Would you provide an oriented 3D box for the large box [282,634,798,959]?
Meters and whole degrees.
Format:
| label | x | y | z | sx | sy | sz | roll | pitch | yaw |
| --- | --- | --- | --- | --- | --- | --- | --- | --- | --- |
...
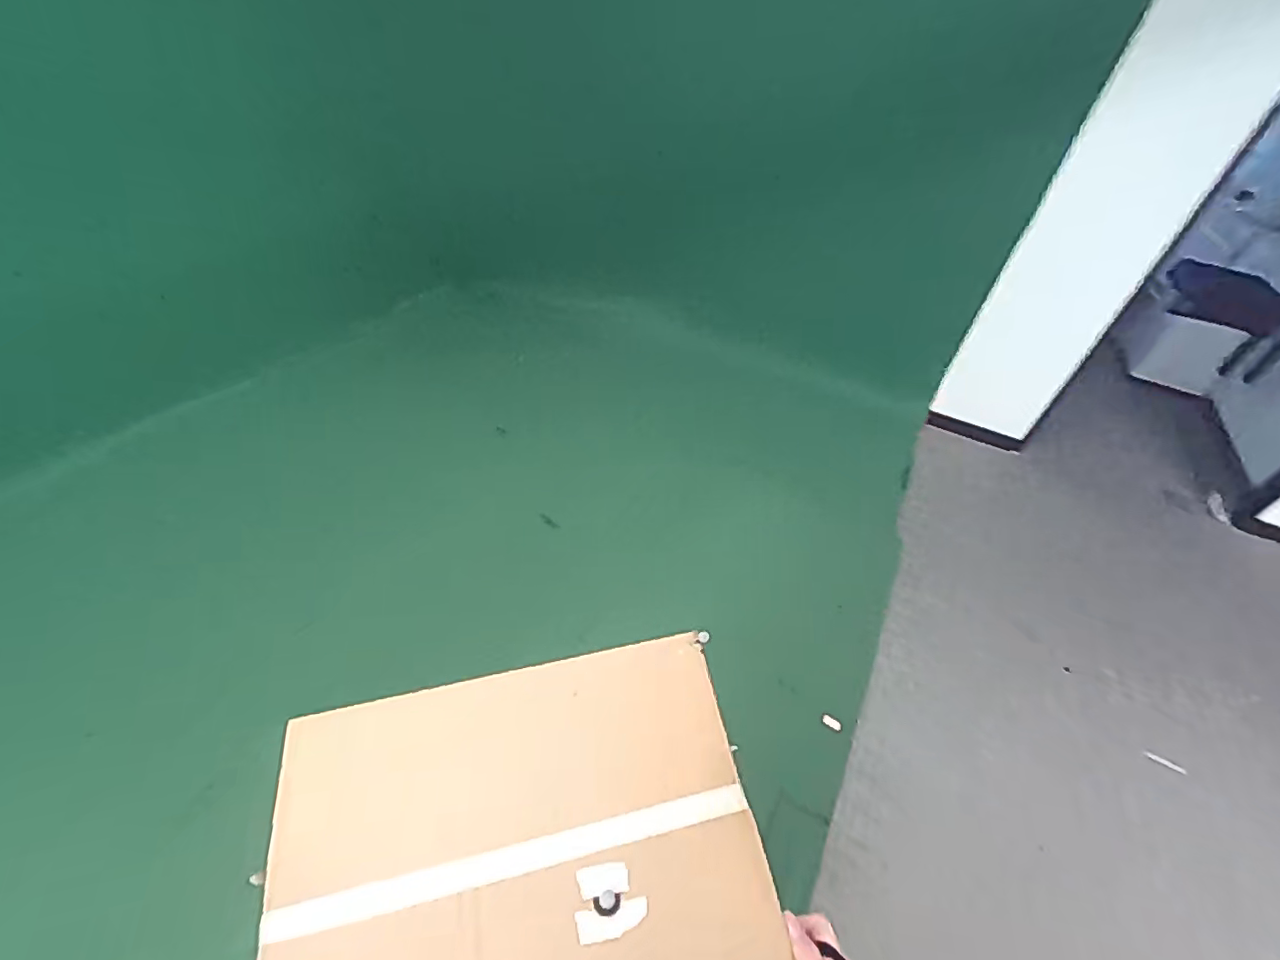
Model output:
| label | x | y | z | sx | sy | sz | roll | pitch | yaw |
| --- | --- | --- | --- | --- | --- | --- | --- | --- | --- |
| large box | -0.101 | 0.406 | 0.592 | 0.408 | 0.320 | 0.320 | -9 | 57 | -9 |
